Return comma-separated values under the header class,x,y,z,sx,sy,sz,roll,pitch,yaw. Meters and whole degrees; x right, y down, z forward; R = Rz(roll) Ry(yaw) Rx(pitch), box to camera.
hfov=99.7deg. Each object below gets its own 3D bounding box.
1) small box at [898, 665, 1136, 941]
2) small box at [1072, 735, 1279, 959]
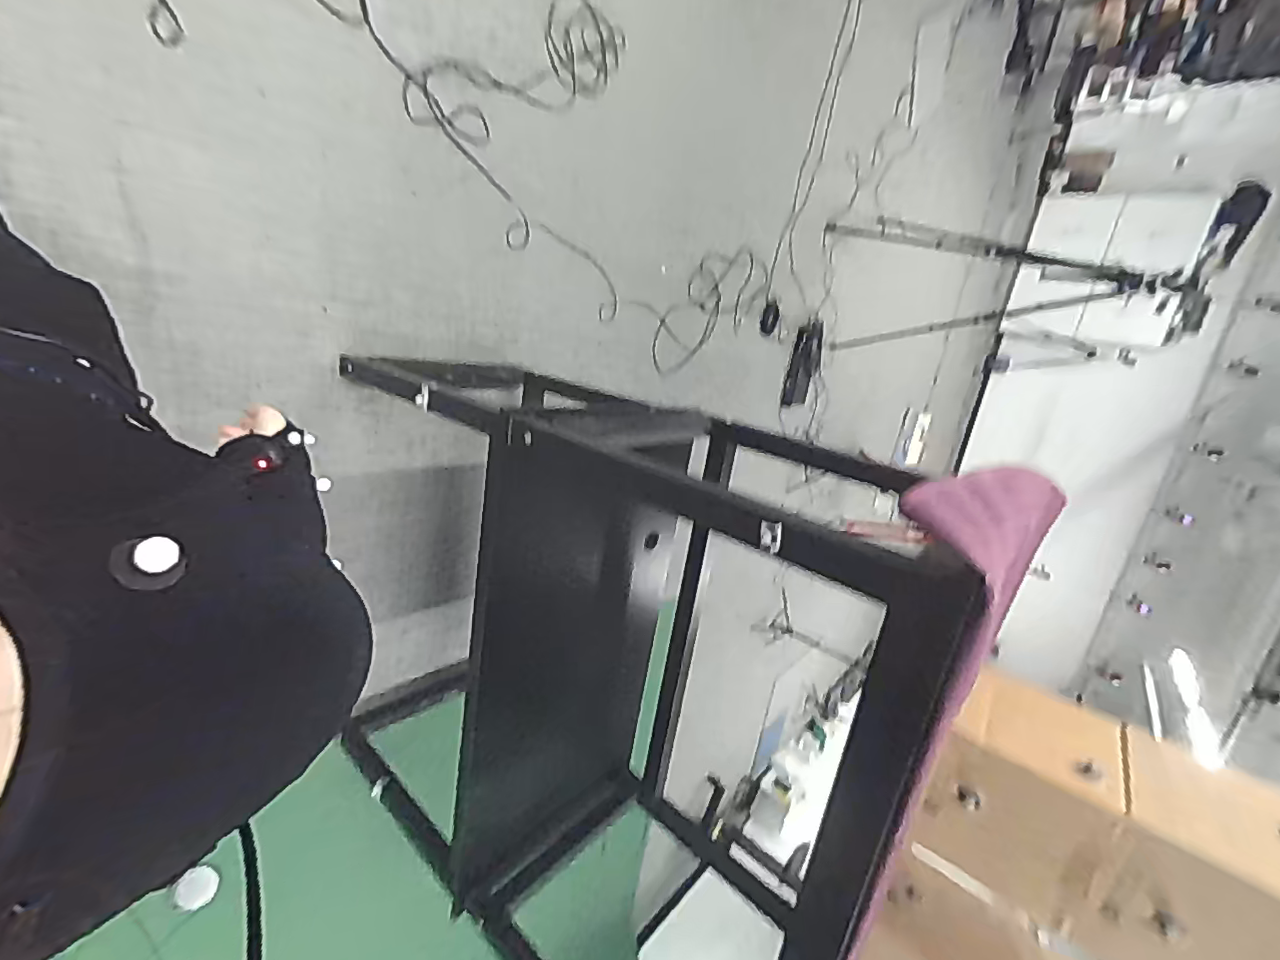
class,x,y,z,sx,sy,sz,roll,pitch,yaw
small box,0.425,0.347,0.623,0.179,0.176,0.168,-14,118,-49
small box,0.556,0.396,0.535,0.179,0.176,0.168,-15,118,-48
